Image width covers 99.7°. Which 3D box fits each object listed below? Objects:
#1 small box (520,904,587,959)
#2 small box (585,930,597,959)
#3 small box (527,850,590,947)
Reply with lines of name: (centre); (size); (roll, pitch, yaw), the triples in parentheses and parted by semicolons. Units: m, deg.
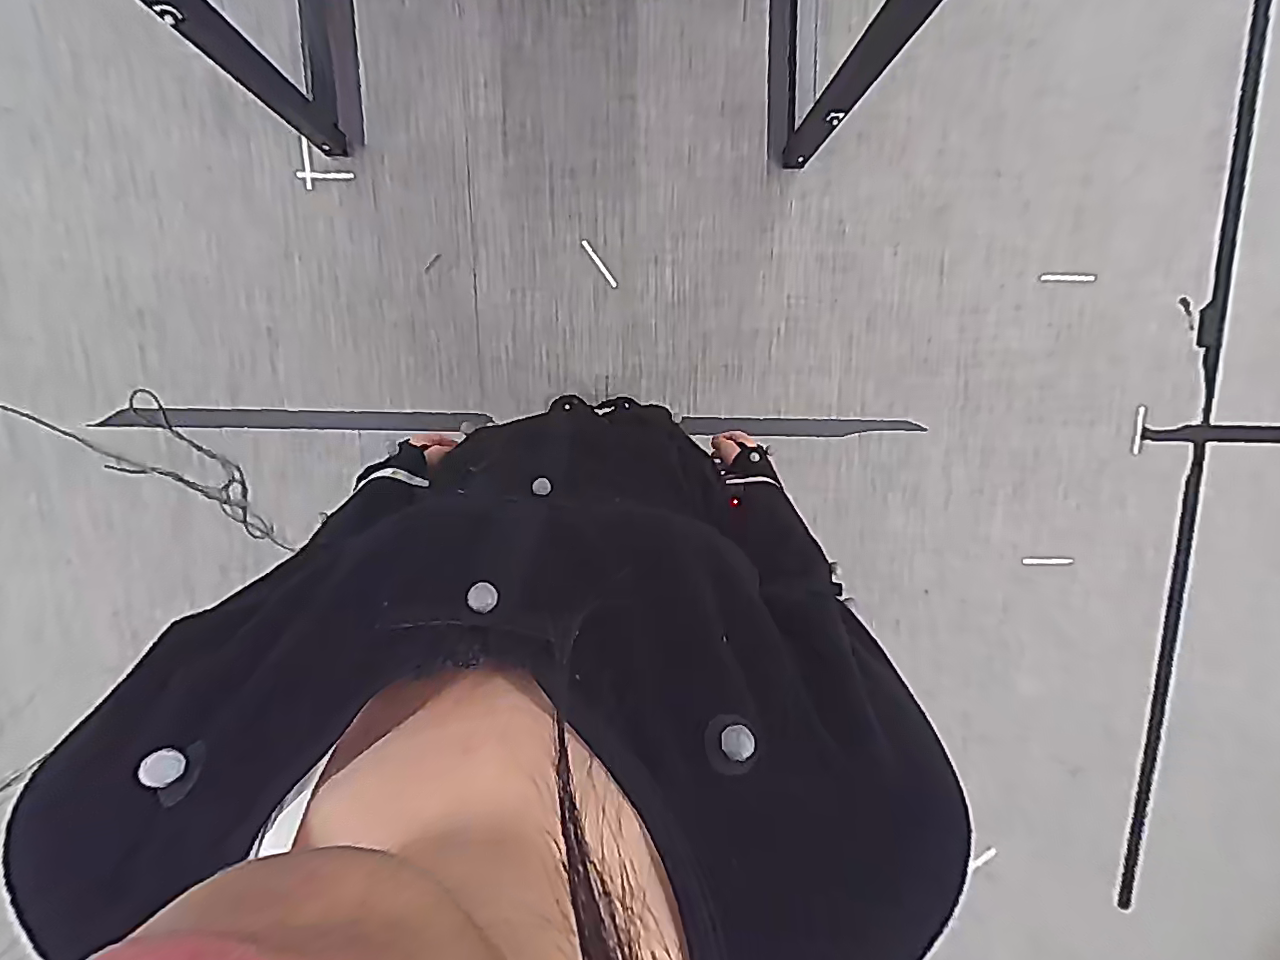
small box: (-0.228, 1.261, 1.425); (0.168, 0.176, 0.179); (1, 100, -3)
small box: (-0.217, 1.500, 1.630); (0.168, 0.176, 0.179); (-7, 99, -2)
small box: (-0.235, 1.222, 1.585); (0.168, 0.176, 0.179); (-2, 100, -3)
